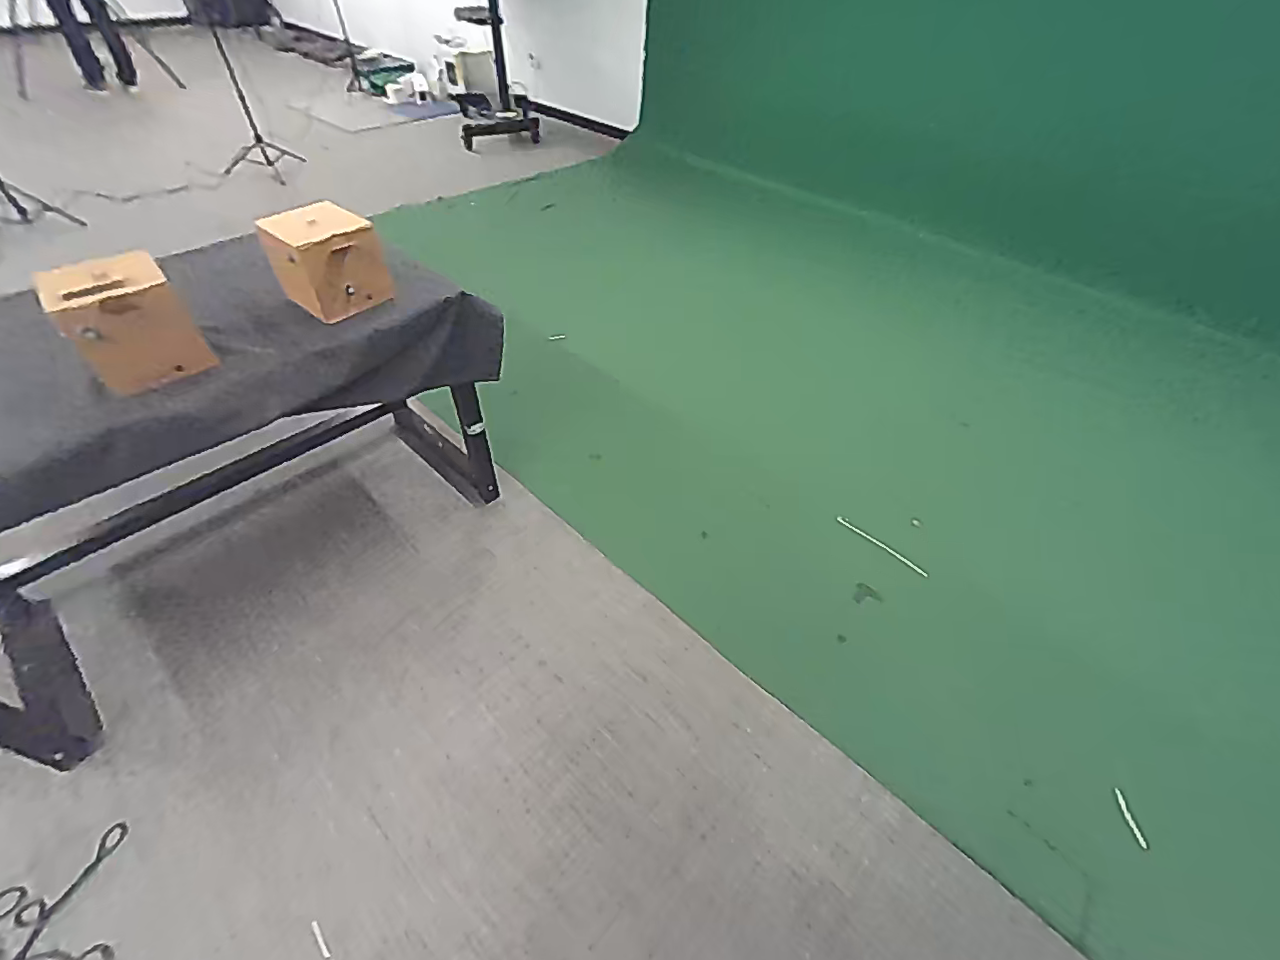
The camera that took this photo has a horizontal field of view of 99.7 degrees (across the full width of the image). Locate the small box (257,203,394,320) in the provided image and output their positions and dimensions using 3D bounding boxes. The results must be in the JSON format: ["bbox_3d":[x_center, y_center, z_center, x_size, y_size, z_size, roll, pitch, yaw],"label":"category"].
[{"bbox_3d":[-0.670,-0.471,1.168,0.179,0.176,0.168,31,53,23],"label":"small box"}]
